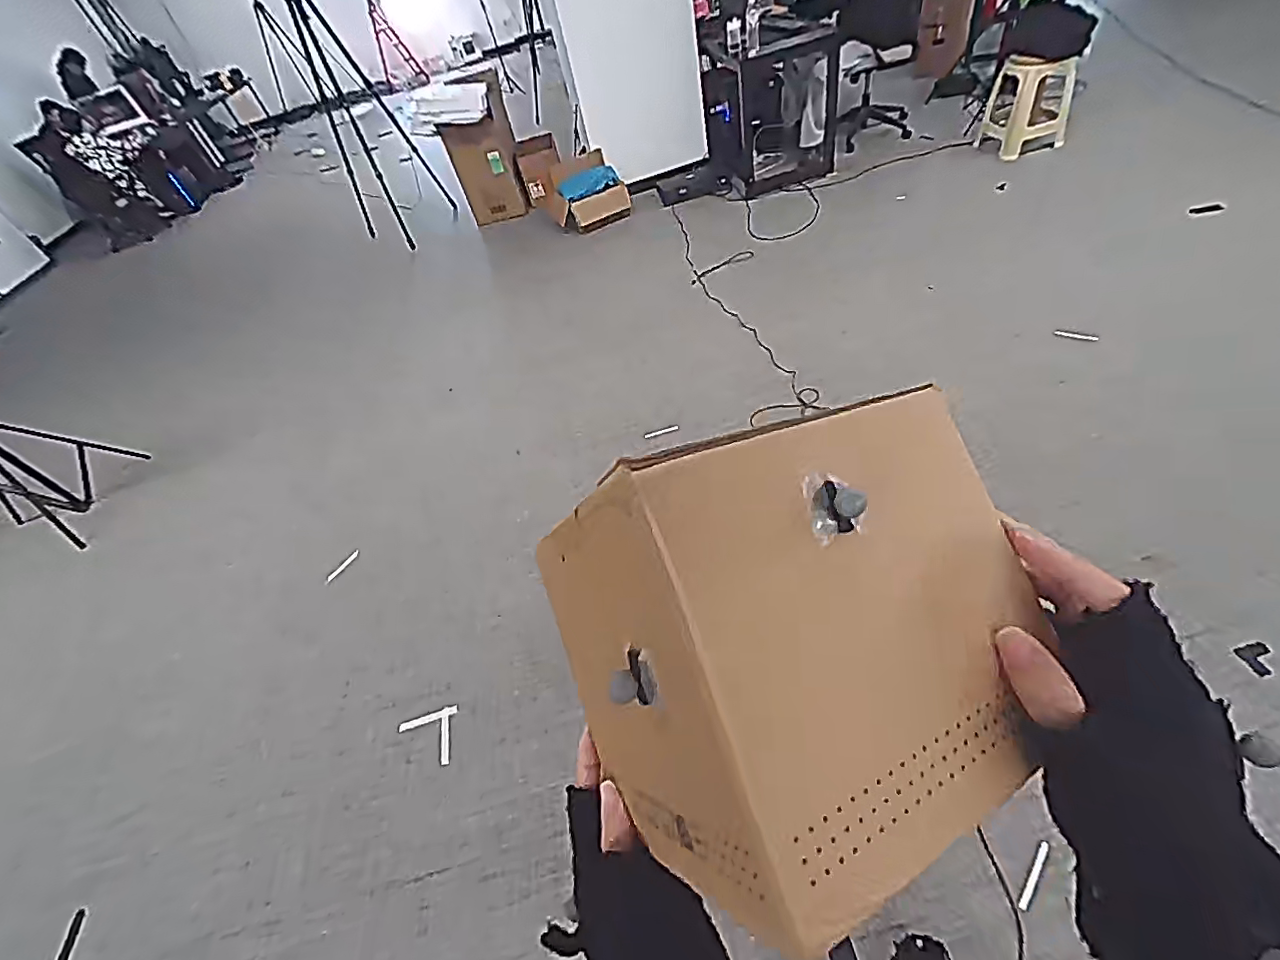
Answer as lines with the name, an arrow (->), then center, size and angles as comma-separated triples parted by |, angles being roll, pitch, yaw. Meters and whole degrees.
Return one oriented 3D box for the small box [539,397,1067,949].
small box -> 0.067, 0.081, 0.282 | 0.179, 0.168, 0.176 | -15, 79, -25
